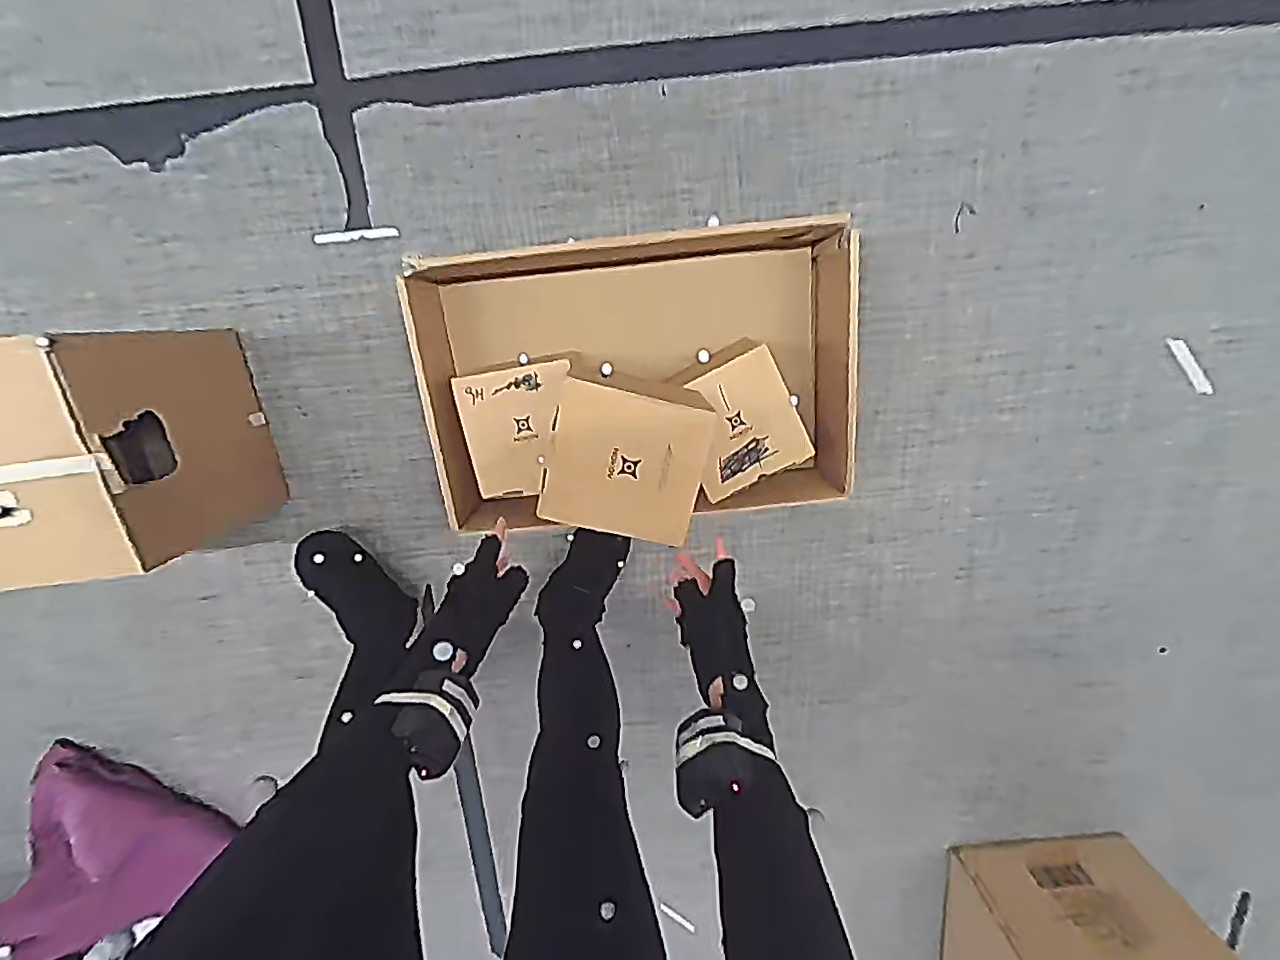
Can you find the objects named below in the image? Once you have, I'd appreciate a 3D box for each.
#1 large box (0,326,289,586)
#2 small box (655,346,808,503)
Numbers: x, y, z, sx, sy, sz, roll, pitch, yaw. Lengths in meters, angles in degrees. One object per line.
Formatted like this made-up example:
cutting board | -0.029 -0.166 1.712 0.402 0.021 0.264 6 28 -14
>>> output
large box | -0.857 -0.047 0.819 0.408 0.320 0.320 -8 107 1
small box | 0.135 -0.095 0.840 0.168 0.176 0.179 -26 104 8
